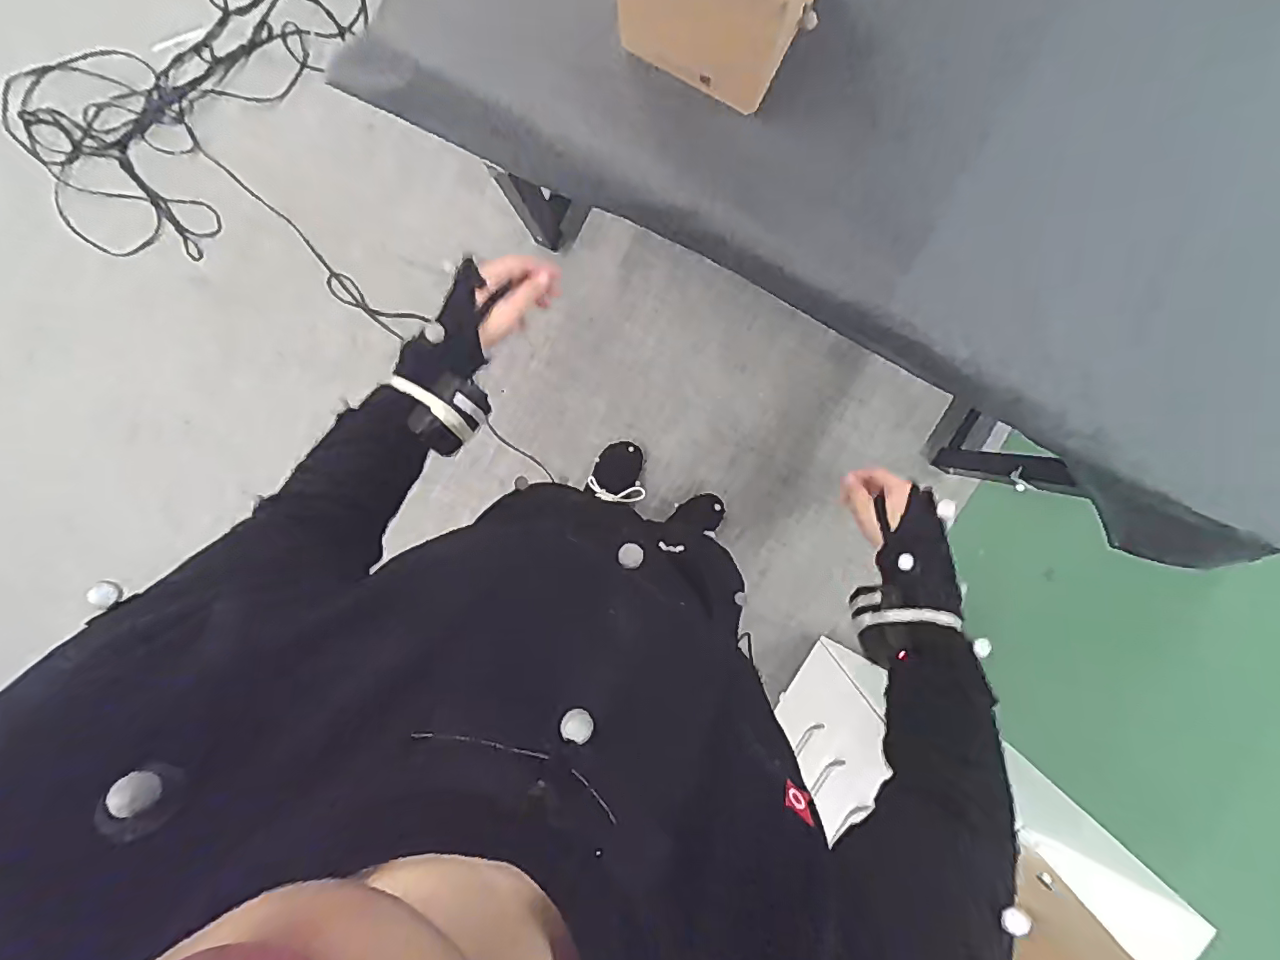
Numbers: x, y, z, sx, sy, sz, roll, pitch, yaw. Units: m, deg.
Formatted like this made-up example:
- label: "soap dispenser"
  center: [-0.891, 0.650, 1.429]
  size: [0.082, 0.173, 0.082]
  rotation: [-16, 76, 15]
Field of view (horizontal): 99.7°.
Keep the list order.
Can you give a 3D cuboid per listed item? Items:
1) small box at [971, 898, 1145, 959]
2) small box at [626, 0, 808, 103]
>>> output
- label: "small box"
  center: [0.501, 0.622, 0.602]
  size: [0.179, 0.176, 0.168]
  rotation: [26, 98, -4]
- label: "small box"
  center: [0.089, -0.508, 0.497]
  size: [0.168, 0.176, 0.179]
  rotation: [27, 96, -3]
